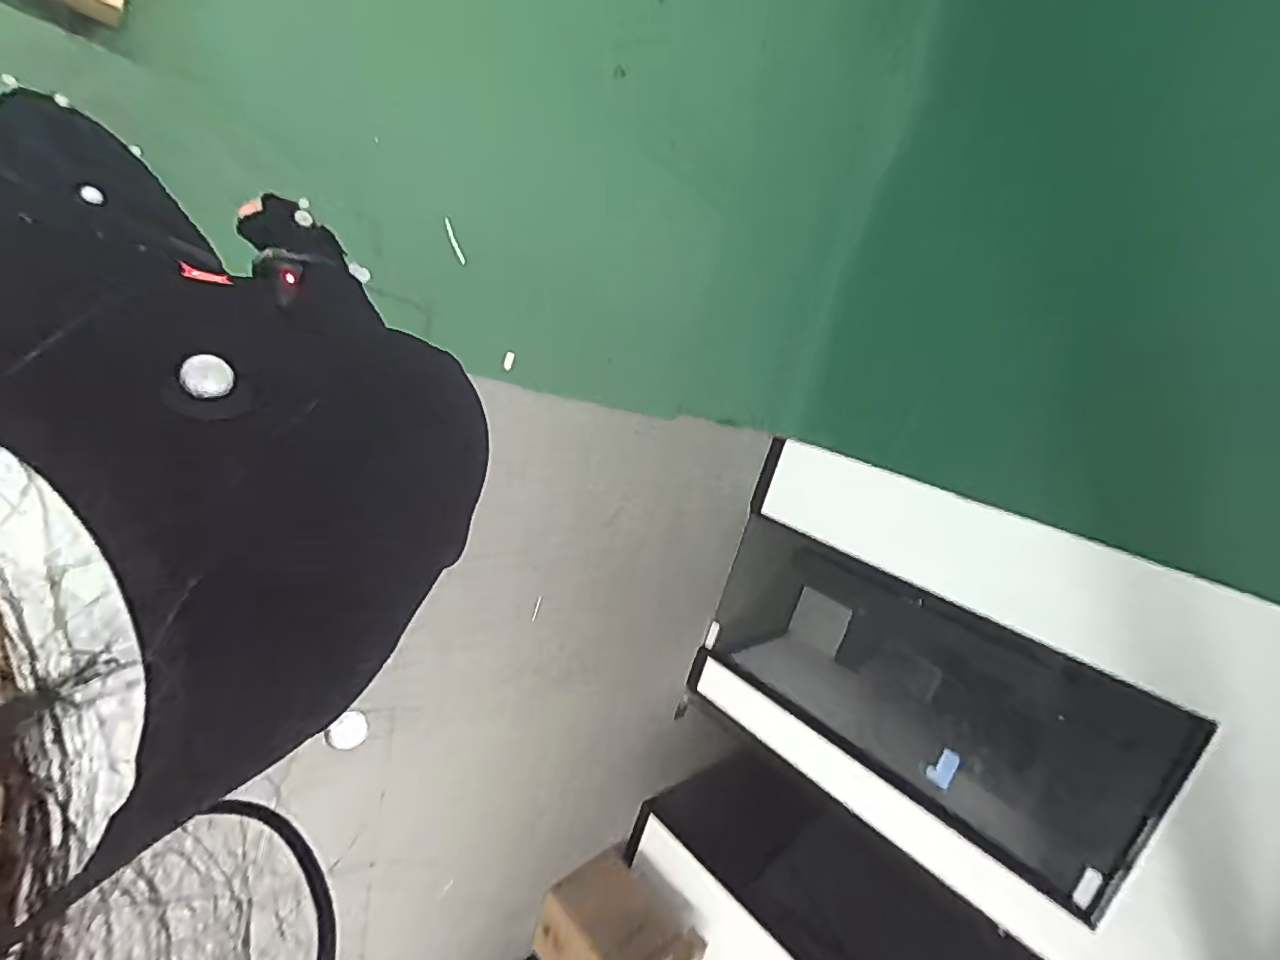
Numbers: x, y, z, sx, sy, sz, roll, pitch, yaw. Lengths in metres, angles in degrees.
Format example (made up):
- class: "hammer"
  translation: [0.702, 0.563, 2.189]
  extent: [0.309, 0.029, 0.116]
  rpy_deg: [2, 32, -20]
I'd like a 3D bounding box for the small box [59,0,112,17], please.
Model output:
- class: "small box"
  translation: [-0.886, -0.831, 0.792]
  extent: [0.168, 0.176, 0.179]
  rpy_deg: [2, 109, -50]
